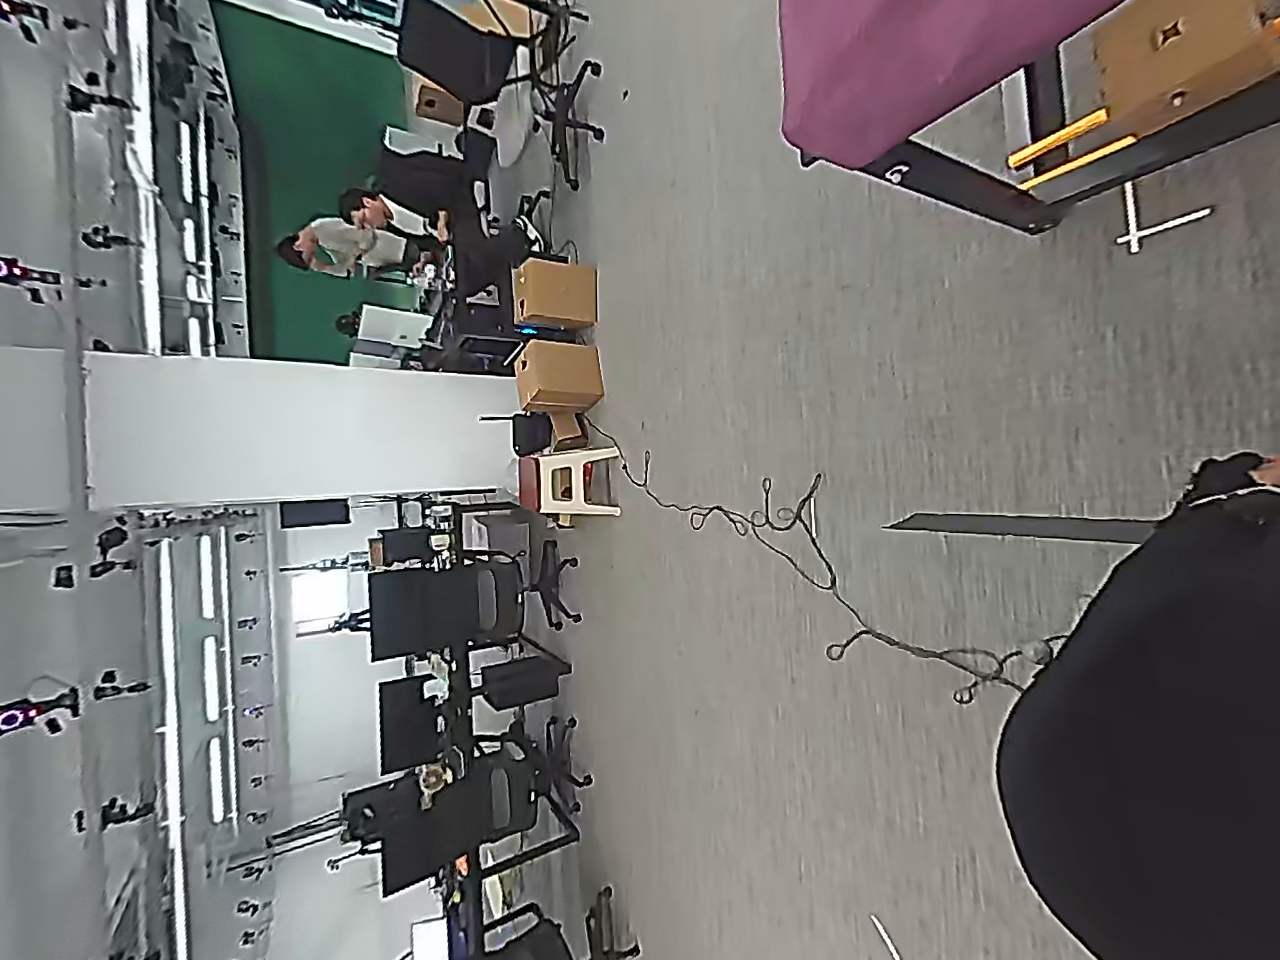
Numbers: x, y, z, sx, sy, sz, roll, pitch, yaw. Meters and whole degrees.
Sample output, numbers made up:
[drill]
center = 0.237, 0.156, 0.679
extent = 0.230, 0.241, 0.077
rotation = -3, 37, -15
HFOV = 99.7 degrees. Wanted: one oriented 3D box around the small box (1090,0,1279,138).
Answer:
[small box]
center = 0.880, -0.698, 0.874
extent = 0.179, 0.176, 0.168
rotation = -14, 83, 59
